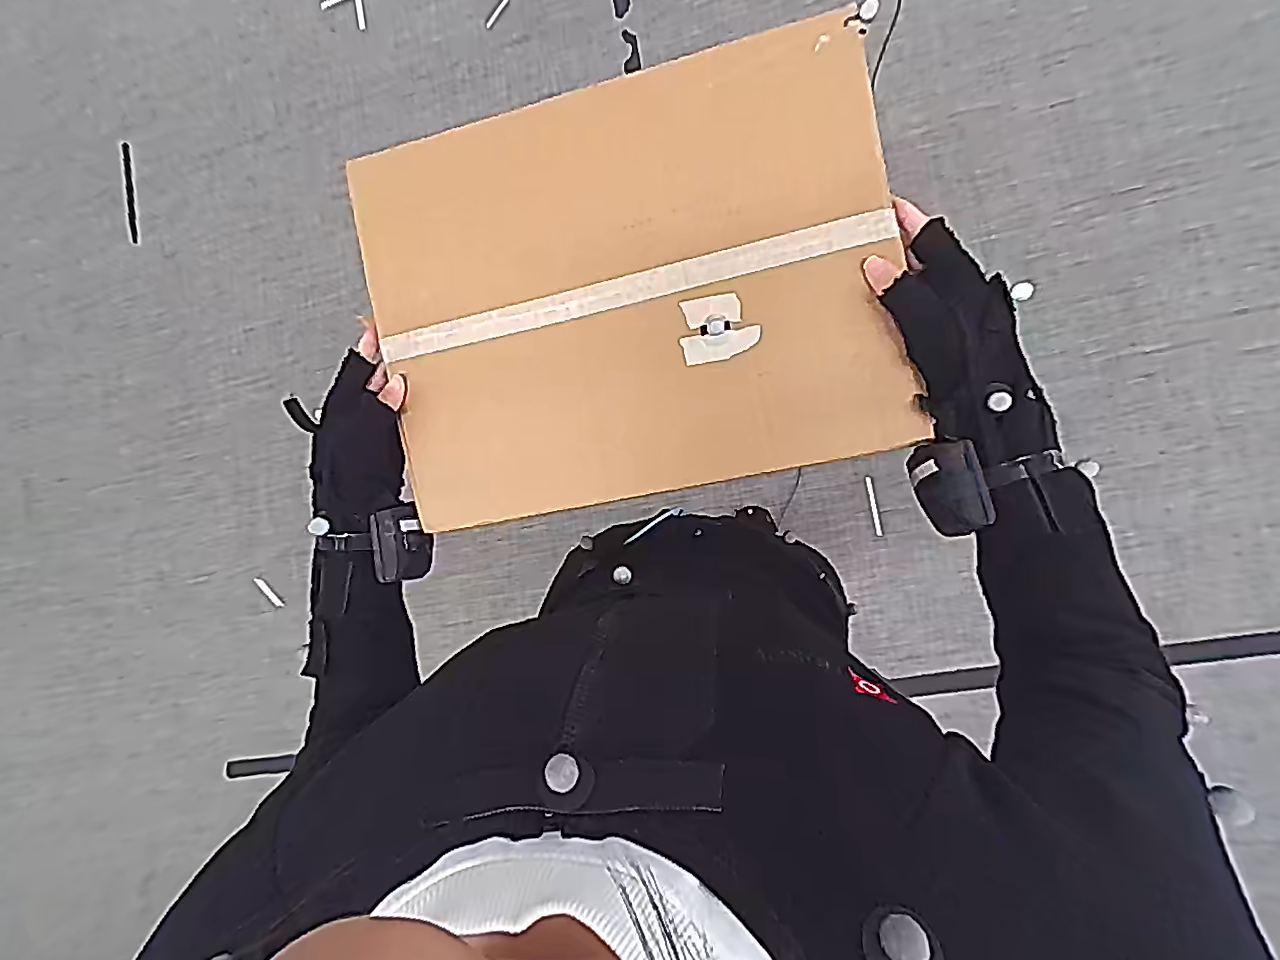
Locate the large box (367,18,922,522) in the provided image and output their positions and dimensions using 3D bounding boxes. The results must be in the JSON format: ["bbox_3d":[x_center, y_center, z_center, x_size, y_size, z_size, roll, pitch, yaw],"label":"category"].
[{"bbox_3d":[0.009,-0.159,0.575,0.408,0.320,0.320,-11,92,8],"label":"large box"}]
